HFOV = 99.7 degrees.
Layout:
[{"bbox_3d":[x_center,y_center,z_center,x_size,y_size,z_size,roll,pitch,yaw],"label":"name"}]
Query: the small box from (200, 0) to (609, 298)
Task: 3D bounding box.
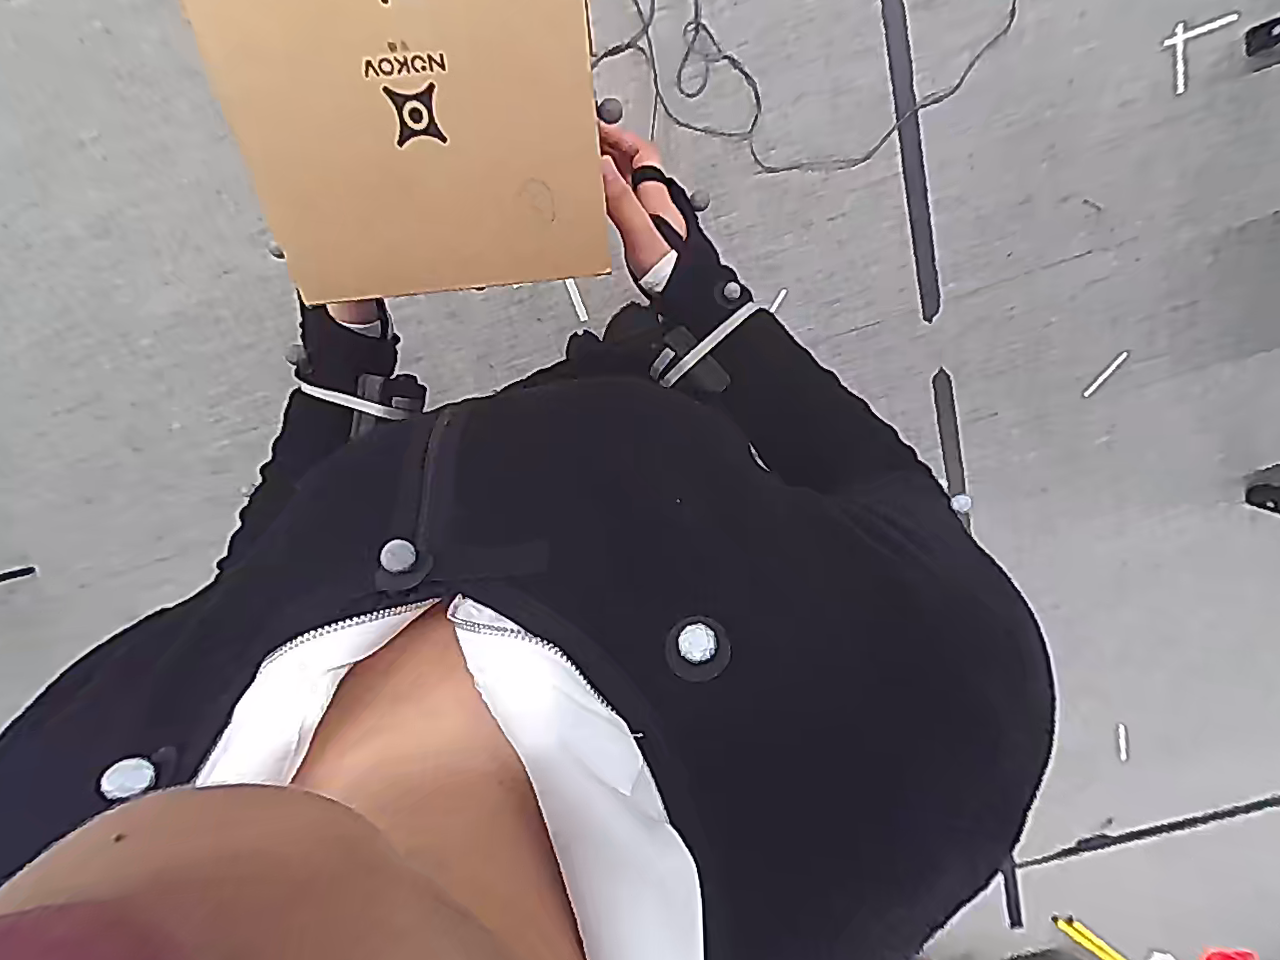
[{"bbox_3d":[-0.110,-0.220,0.319,0.168,0.176,0.179,-7,120,-4],"label":"small box"}]
